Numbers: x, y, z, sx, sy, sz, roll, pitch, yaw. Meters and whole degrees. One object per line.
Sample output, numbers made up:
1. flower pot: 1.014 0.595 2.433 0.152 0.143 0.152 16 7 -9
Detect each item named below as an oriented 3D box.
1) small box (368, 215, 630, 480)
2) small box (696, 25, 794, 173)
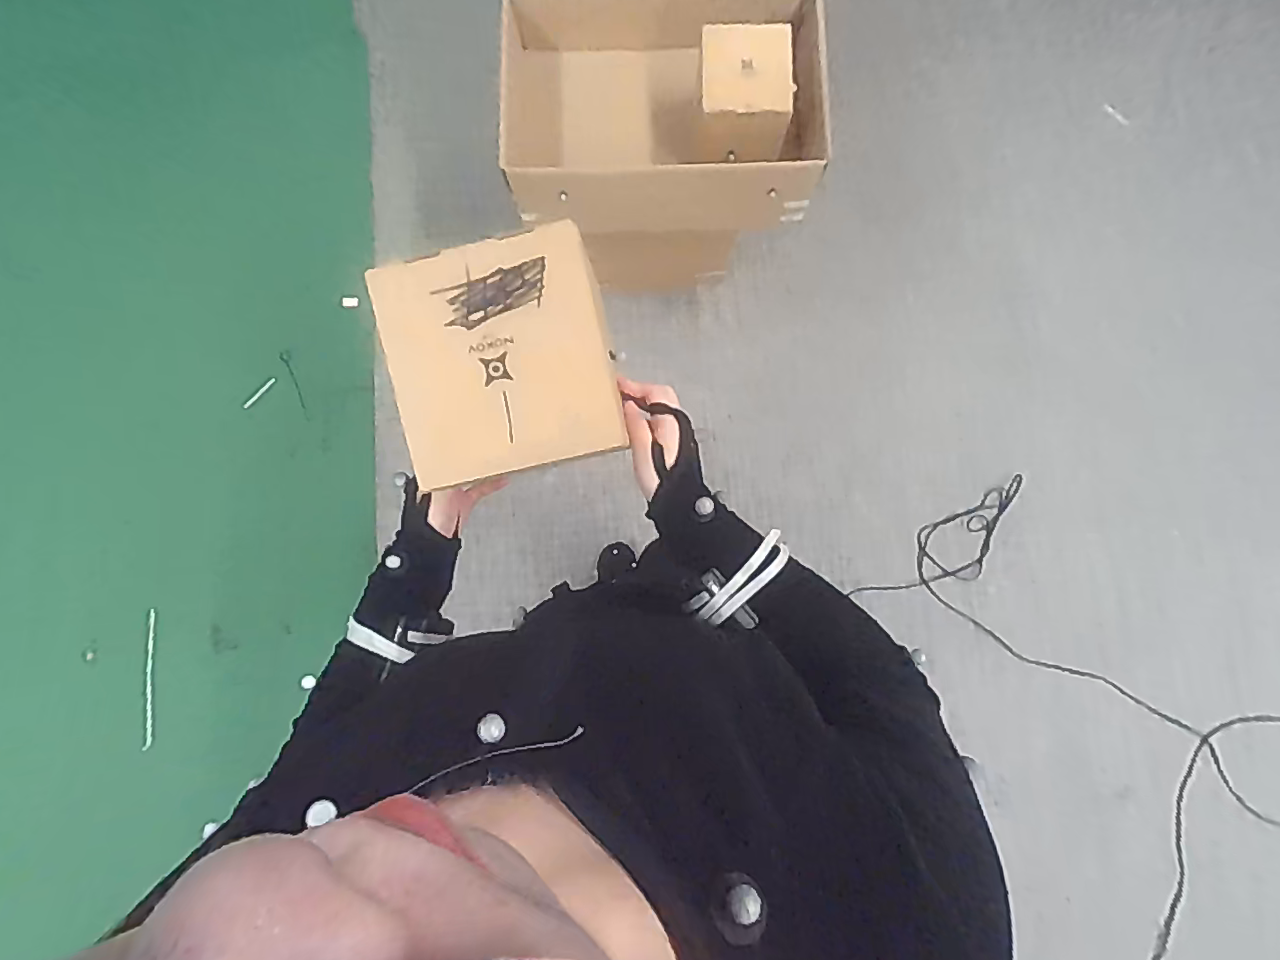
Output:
1. small box: -0.108 -0.103 0.492 0.168 0.176 0.179 -13 93 4
2. small box: 0.199 -0.742 1.063 0.168 0.176 0.179 0 84 2
